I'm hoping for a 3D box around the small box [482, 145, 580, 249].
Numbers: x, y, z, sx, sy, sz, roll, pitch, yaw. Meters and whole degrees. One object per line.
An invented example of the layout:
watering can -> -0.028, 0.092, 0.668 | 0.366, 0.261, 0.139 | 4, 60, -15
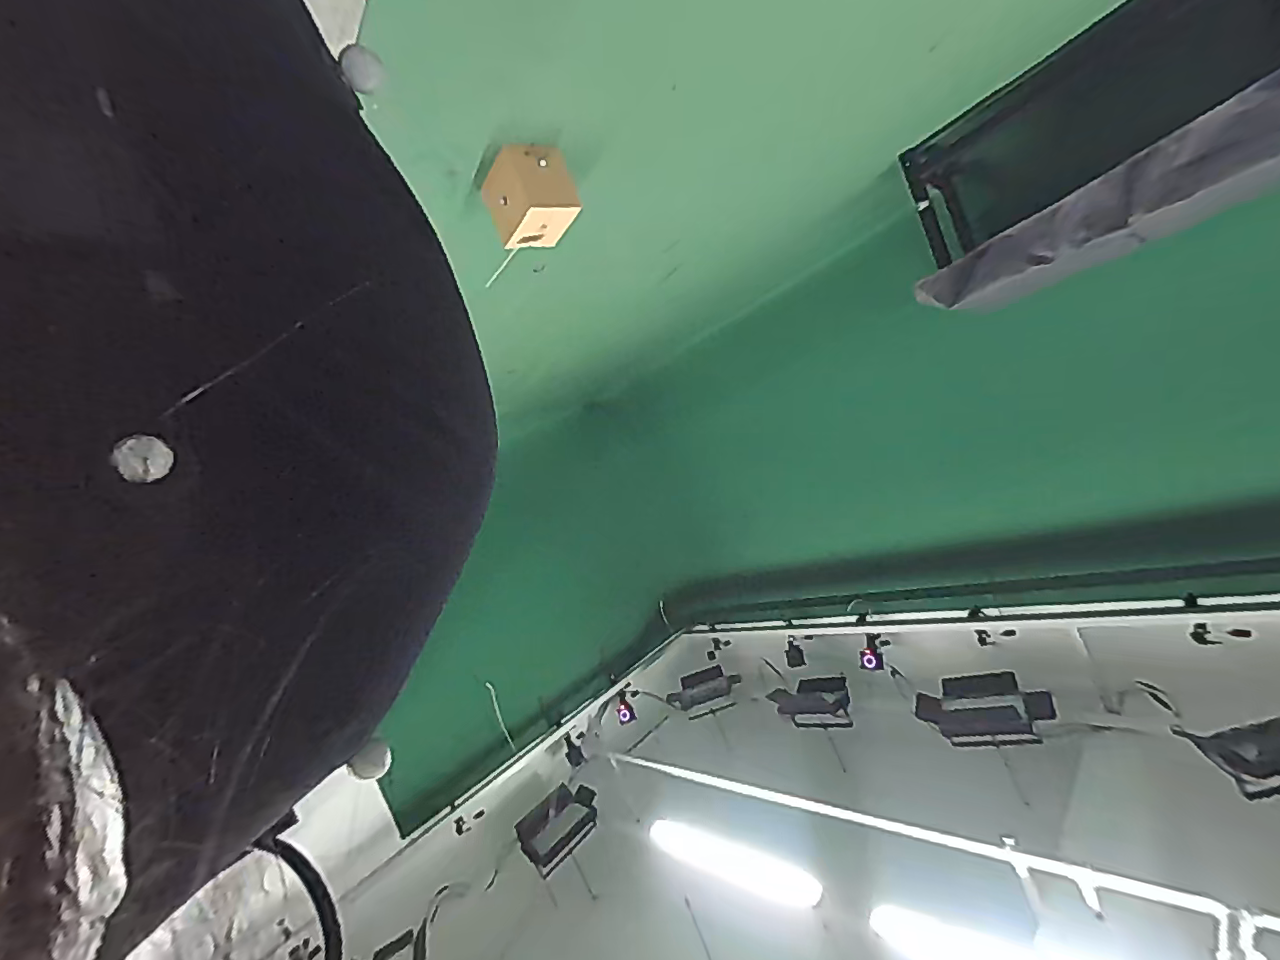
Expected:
small box -> -0.291, -0.731, 1.410 | 0.168, 0.176, 0.179 | -25, 180, -38
